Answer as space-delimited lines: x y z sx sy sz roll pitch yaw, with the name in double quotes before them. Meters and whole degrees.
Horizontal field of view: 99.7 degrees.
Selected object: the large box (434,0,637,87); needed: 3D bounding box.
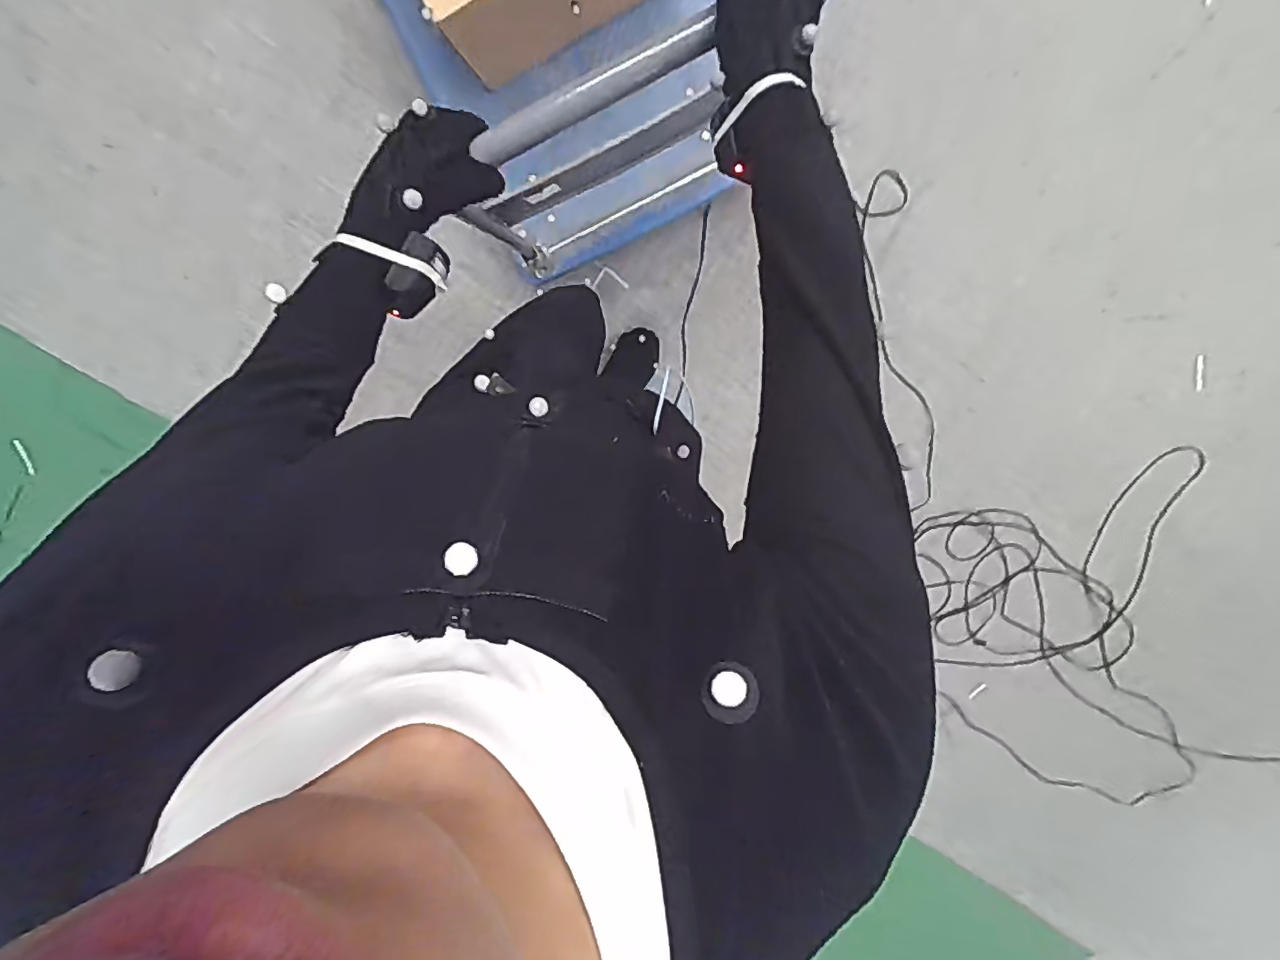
"large box" -0.169 -0.925 0.845 0.408 0.320 0.320 -25 108 10
